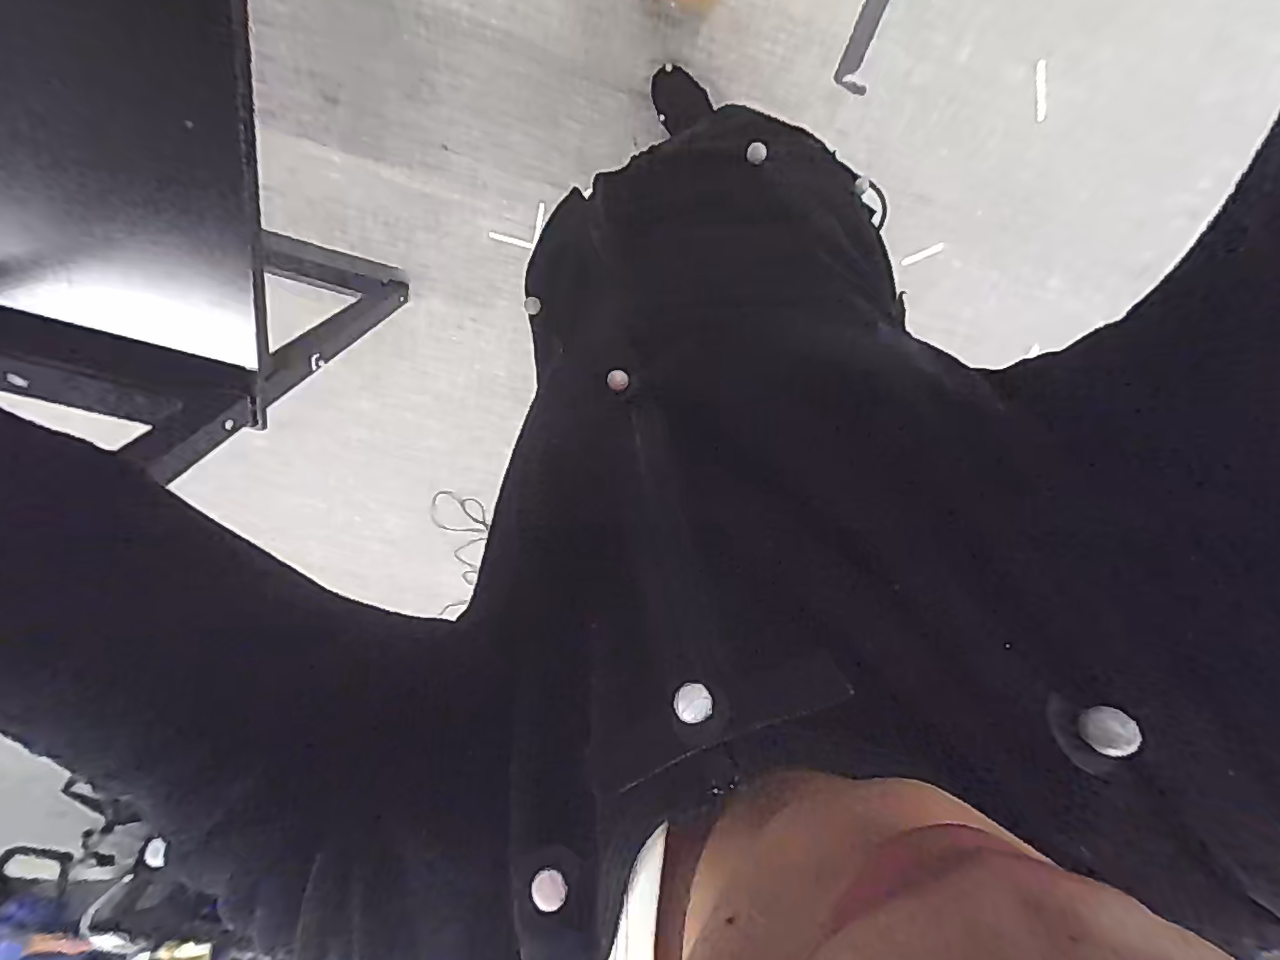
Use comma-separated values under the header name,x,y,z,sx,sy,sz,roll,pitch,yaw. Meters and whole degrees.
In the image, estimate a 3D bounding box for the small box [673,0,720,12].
name,x,y,z,sx,sy,sz,roll,pitch,yaw
small box,0.099,-1.053,1.045,0.168,0.176,0.179,13,123,-8
